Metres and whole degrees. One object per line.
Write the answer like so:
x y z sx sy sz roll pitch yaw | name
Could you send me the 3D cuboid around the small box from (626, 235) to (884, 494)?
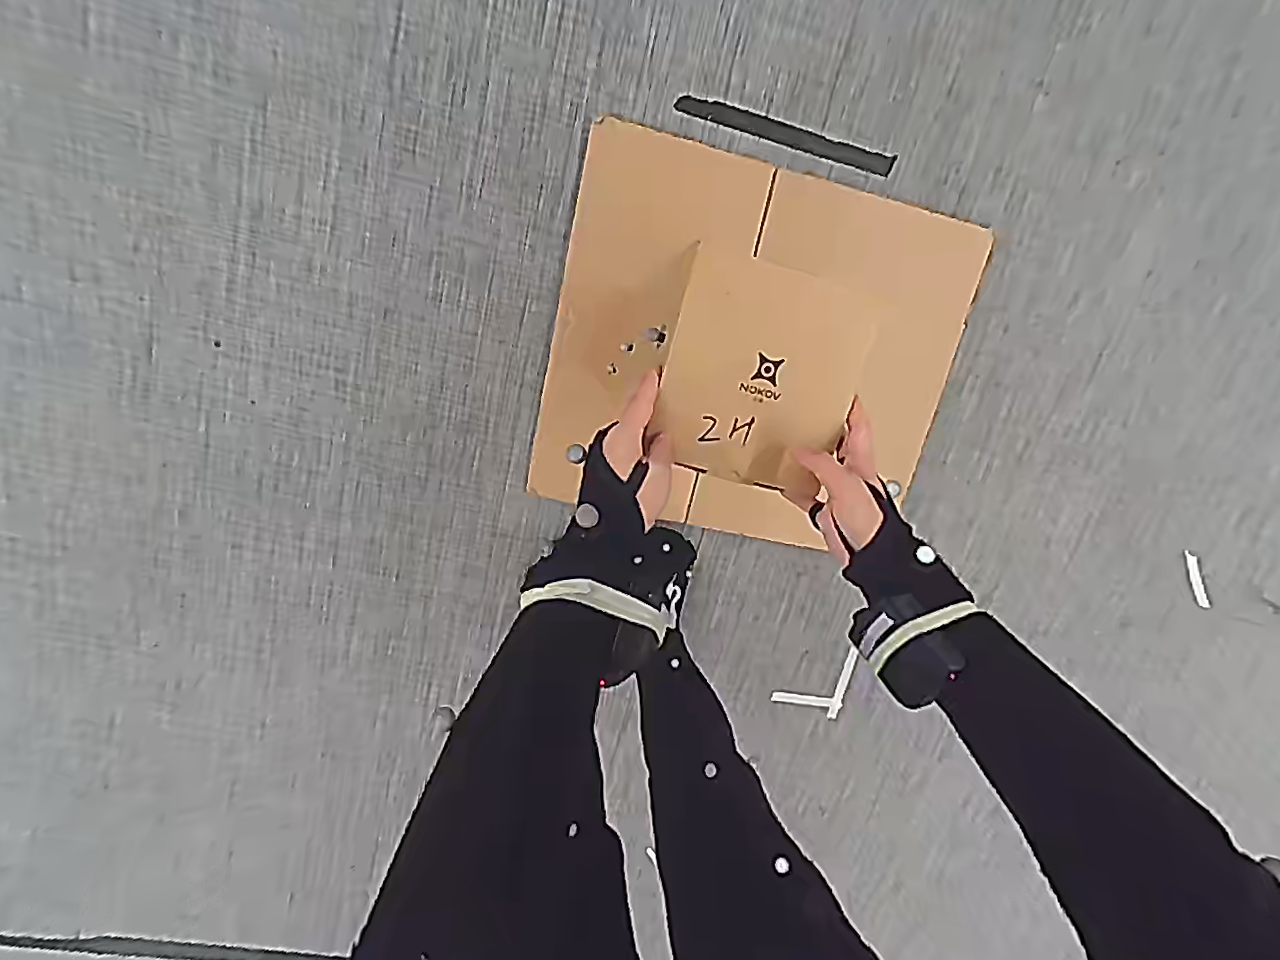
0.089 -0.108 0.518 0.168 0.176 0.179 14 104 -11 | small box
